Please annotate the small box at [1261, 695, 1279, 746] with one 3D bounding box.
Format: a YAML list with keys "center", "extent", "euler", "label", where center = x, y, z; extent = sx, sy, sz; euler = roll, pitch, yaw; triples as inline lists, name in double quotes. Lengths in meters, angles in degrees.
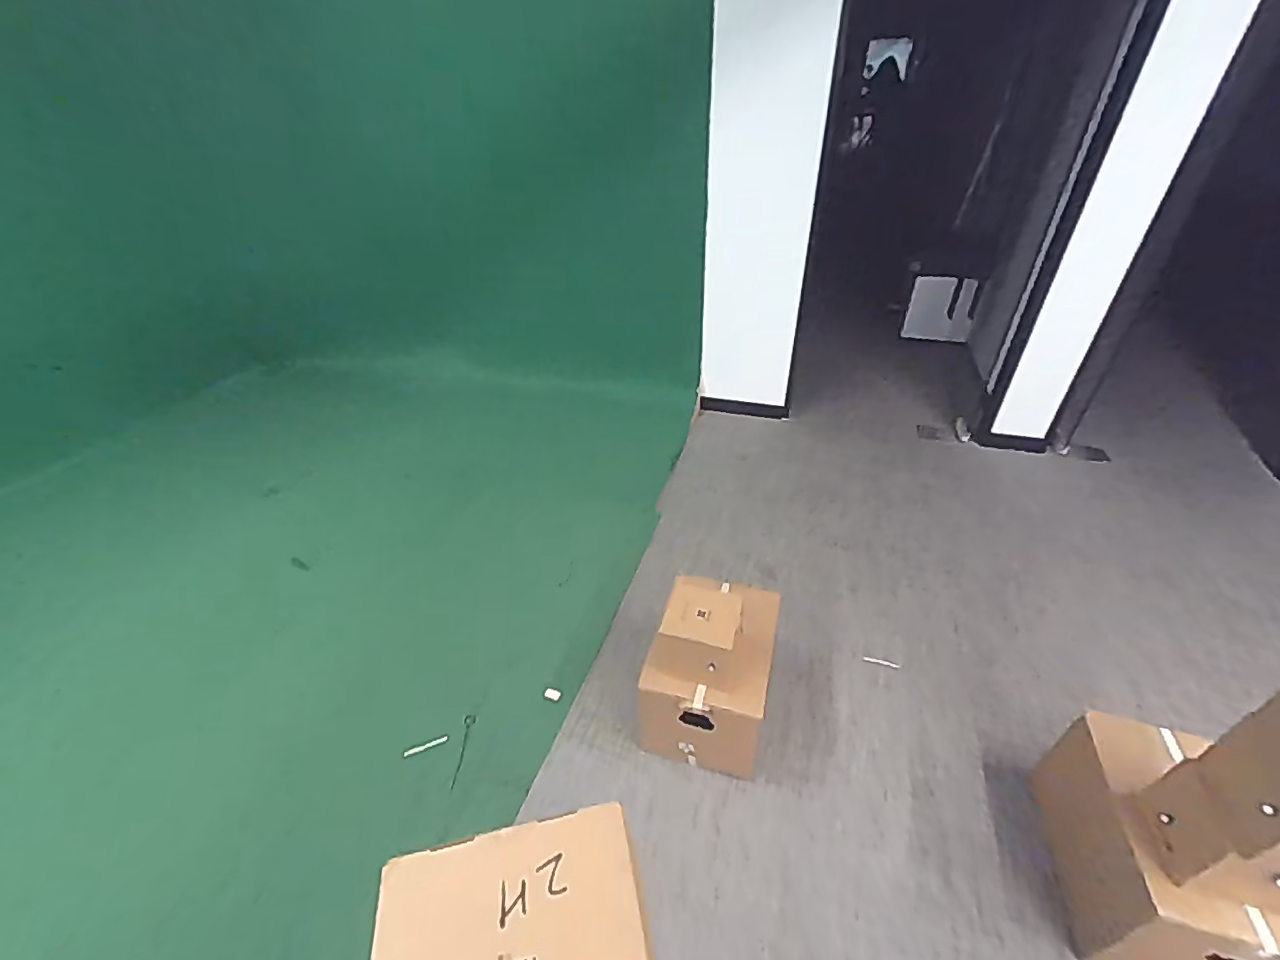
- center: [1.066, 0.382, 0.765]
  extent: [0.168, 0.176, 0.179]
  euler: [9, 41, 17]
  label: "small box"

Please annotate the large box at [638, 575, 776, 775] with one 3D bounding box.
- center: [0.200, 0.541, 1.541]
  extent: [0.320, 0.320, 0.408]
  euler: [9, 38, 15]
  label: "large box"

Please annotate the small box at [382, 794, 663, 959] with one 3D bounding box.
- center: [-0.066, 0.354, 0.371]
  extent: [0.168, 0.176, 0.179]
  euler: [-11, 42, -6]
  label: "small box"

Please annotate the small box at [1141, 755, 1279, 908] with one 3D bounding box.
- center: [1.077, 0.635, 0.976]
  extent: [0.179, 0.176, 0.168]
  euler: [7, 39, 14]
  label: "small box"

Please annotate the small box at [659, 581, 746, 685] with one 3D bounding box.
- center: [0.158, 0.383, 1.345]
  extent: [0.179, 0.176, 0.168]
  euler: [9, 38, 18]
  label: "small box"
